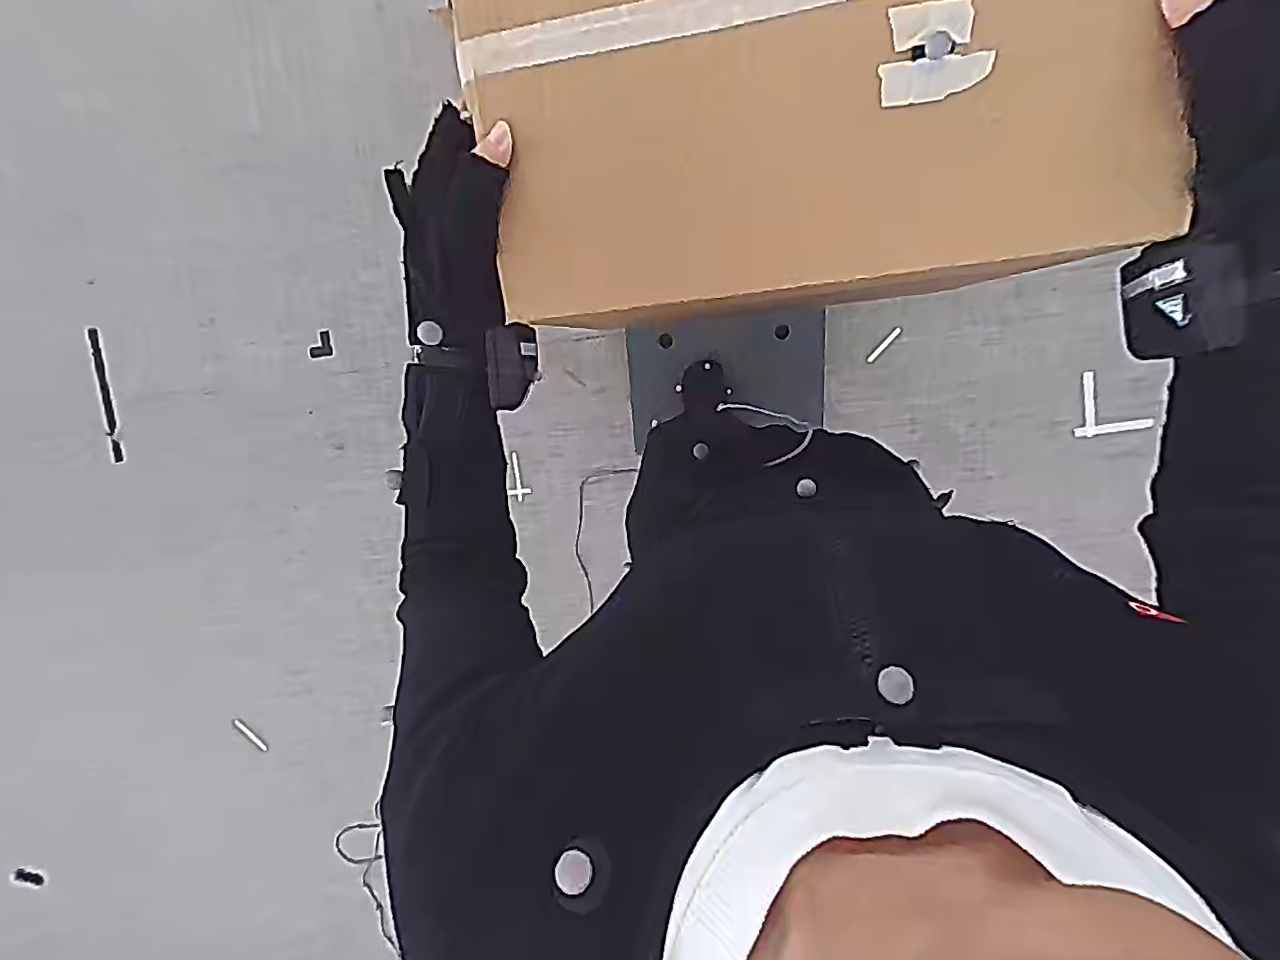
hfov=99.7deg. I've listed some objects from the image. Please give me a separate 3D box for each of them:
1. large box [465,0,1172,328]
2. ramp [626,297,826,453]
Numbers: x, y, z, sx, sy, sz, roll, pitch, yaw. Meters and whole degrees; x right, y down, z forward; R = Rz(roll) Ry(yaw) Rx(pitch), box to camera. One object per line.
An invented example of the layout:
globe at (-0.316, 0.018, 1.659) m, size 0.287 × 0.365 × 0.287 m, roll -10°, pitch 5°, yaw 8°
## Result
large box at (0.107, -0.318, 0.460) m, size 0.408 × 0.320 × 0.320 m, roll -5°, pitch 104°, yaw 9°
ramp at (0.193, -0.558, 1.286) m, size 0.509 × 0.206 × 0.991 m, roll -5°, pitch 98°, yaw 7°
